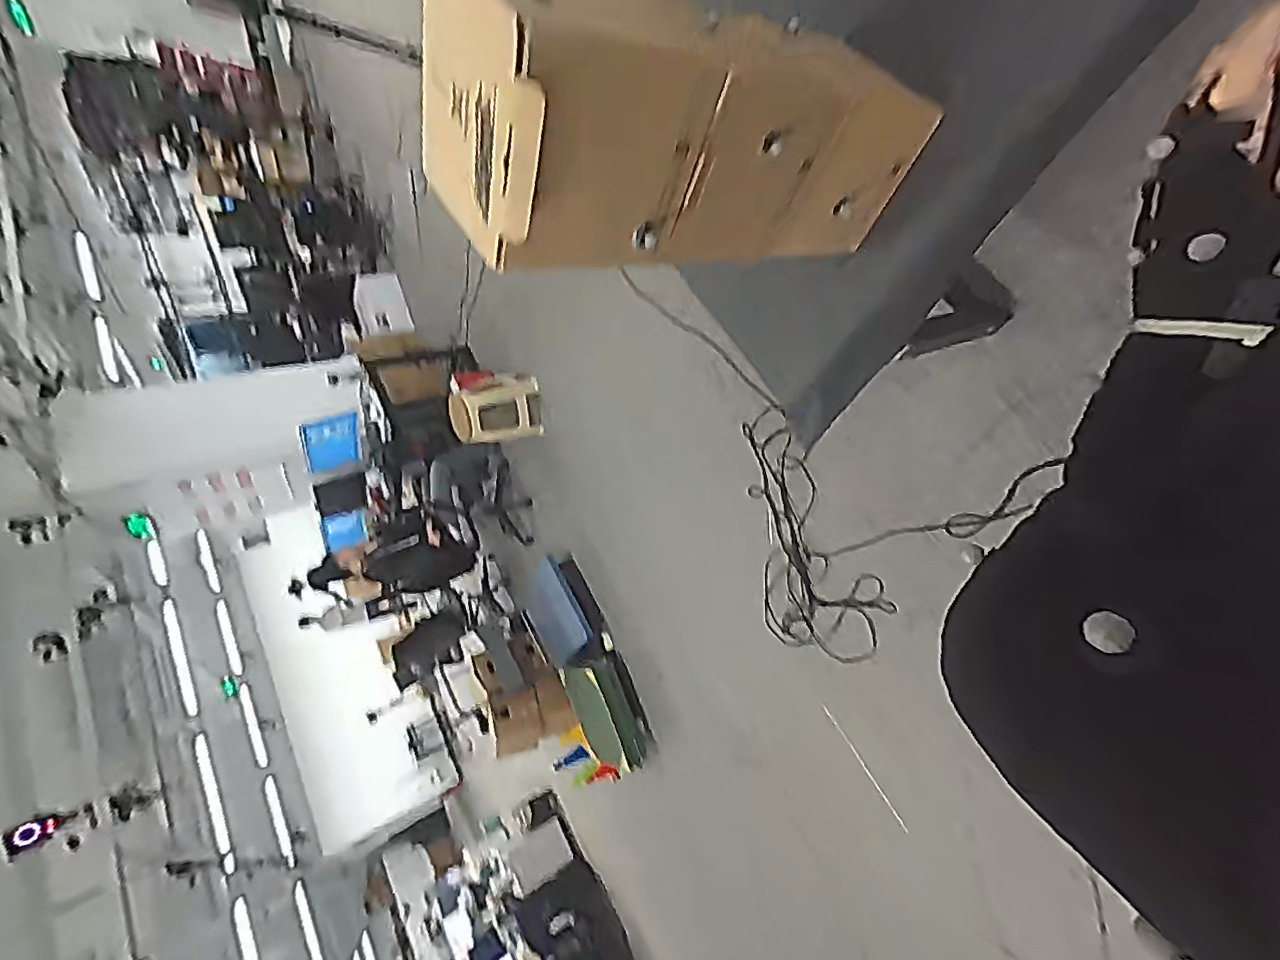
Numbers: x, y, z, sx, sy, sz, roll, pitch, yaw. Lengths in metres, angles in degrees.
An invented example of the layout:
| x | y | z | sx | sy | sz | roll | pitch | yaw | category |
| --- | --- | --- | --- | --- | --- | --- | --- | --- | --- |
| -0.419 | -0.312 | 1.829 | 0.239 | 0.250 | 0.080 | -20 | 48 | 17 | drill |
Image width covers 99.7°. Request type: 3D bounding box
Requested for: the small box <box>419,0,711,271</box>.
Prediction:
| x | y | z | sx | sy | sz | roll | pitch | yaw | category |
| --- | --- | --- | --- | --- | --- | --- | --- | --- | --- |
| -0.070 | -0.299 | 0.452 | 0.179 | 0.176 | 0.168 | 54 | 142 | 26 | small box |

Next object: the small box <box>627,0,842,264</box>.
| x | y | z | sx | sy | sz | roll | pitch | yaw | category |
| --- | --- | --- | --- | --- | --- | --- | --- | --- | --- |
| 0.062 | -0.342 | 0.542 | 0.179 | 0.176 | 0.168 | 55 | 143 | 25 | small box |

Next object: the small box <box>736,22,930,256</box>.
| x | y | z | sx | sy | sz | roll | pitch | yaw | category |
| --- | --- | --- | --- | --- | --- | --- | --- | --- | --- |
| 0.190 | -0.389 | 0.630 | 0.179 | 0.176 | 0.168 | 55 | 144 | 24 | small box |
